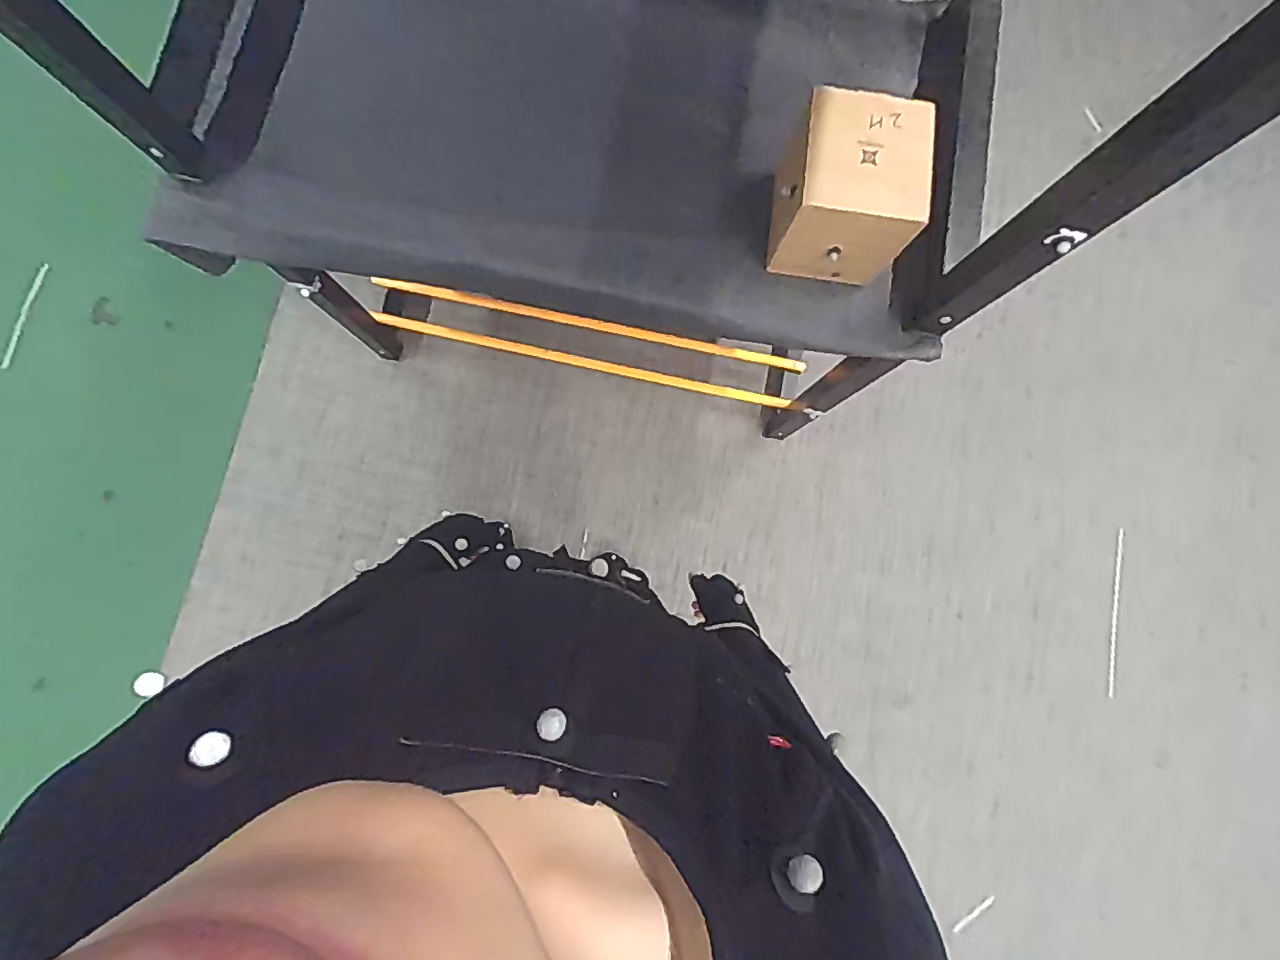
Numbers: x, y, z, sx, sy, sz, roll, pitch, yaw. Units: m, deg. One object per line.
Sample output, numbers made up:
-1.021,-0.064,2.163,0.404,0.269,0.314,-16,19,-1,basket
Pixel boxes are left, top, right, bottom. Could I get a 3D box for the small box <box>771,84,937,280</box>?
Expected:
0.295,-0.412,0.777,0.168,0.176,0.179,8,82,-2,small box
